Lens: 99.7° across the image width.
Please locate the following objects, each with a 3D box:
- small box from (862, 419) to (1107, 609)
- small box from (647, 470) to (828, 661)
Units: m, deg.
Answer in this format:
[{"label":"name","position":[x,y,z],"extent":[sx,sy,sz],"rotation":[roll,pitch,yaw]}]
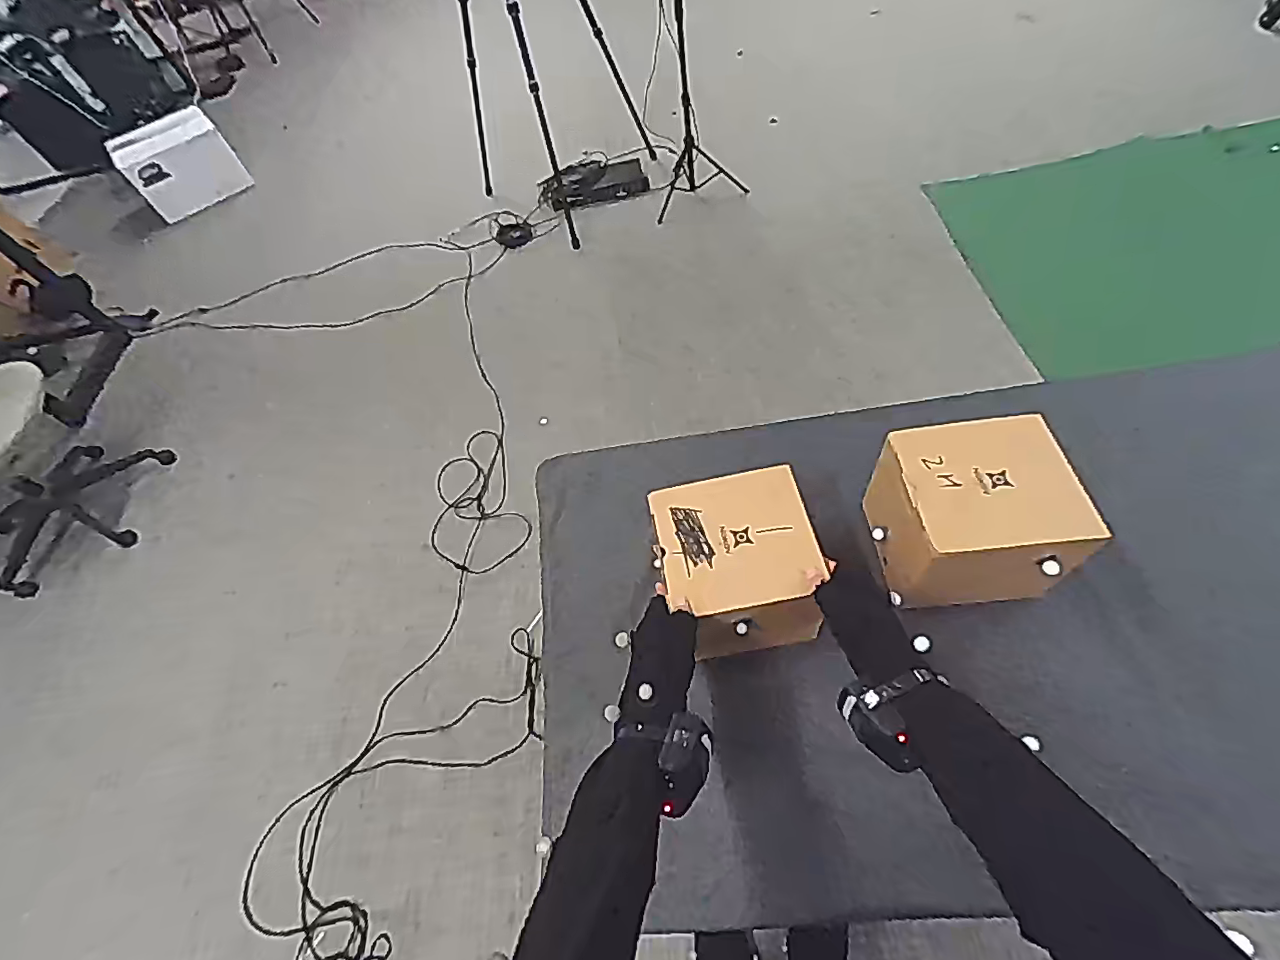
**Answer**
[{"label":"small box","position":[0.395,0.048,0.661],"extent":[0.179,0.176,0.168],"rotation":[-7,56,6]},{"label":"small box","position":[0.114,0.113,0.674],"extent":[0.179,0.176,0.168],"rotation":[-11,56,2]}]
